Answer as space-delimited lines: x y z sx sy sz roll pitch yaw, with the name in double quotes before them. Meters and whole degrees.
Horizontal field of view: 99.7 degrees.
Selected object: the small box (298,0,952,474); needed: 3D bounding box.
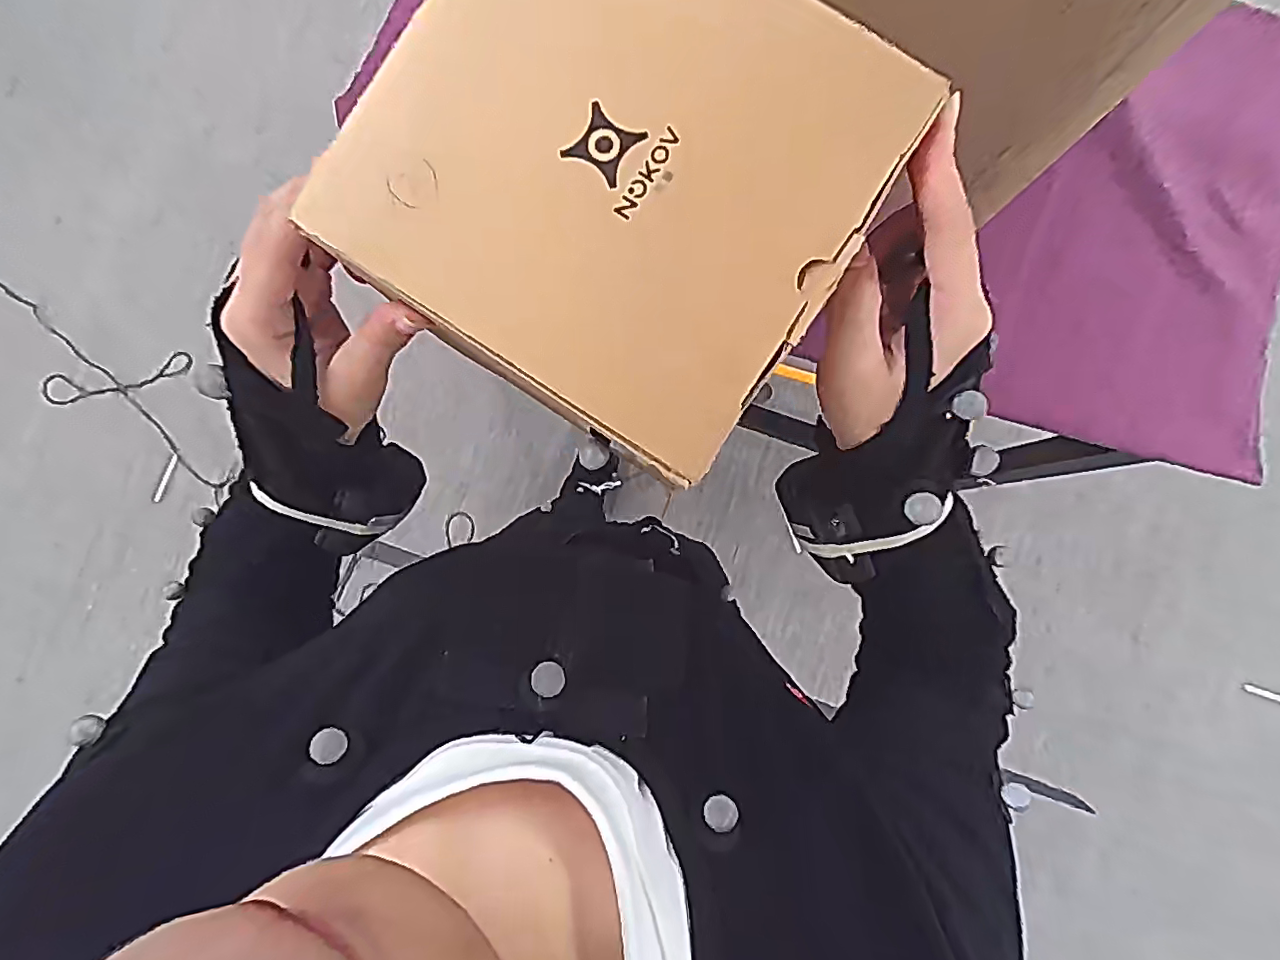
"small box" -0.005 -0.111 0.269 0.179 0.176 0.168 33 90 1
